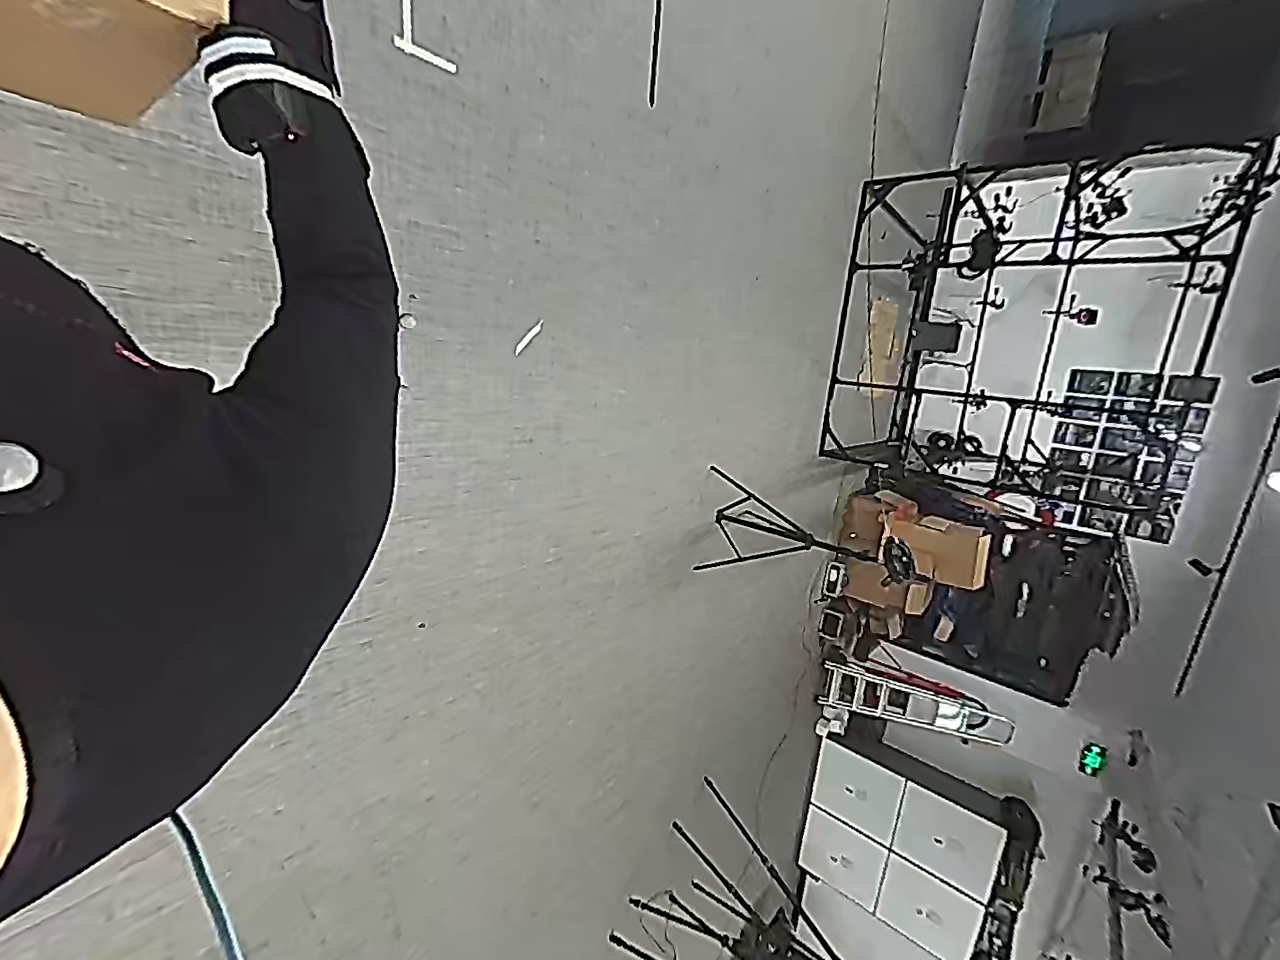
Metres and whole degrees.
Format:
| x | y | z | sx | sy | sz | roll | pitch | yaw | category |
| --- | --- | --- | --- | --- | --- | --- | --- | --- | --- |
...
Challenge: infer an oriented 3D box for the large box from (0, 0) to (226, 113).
| x | y | z | sx | sy | sz | roll | pitch | yaw | category |
| --- | --- | --- | --- | --- | --- | --- | --- | --- | --- |
| -0.518 | -0.468 | 0.280 | 0.408 | 0.320 | 0.320 | -10 | 109 | -52 | large box |
